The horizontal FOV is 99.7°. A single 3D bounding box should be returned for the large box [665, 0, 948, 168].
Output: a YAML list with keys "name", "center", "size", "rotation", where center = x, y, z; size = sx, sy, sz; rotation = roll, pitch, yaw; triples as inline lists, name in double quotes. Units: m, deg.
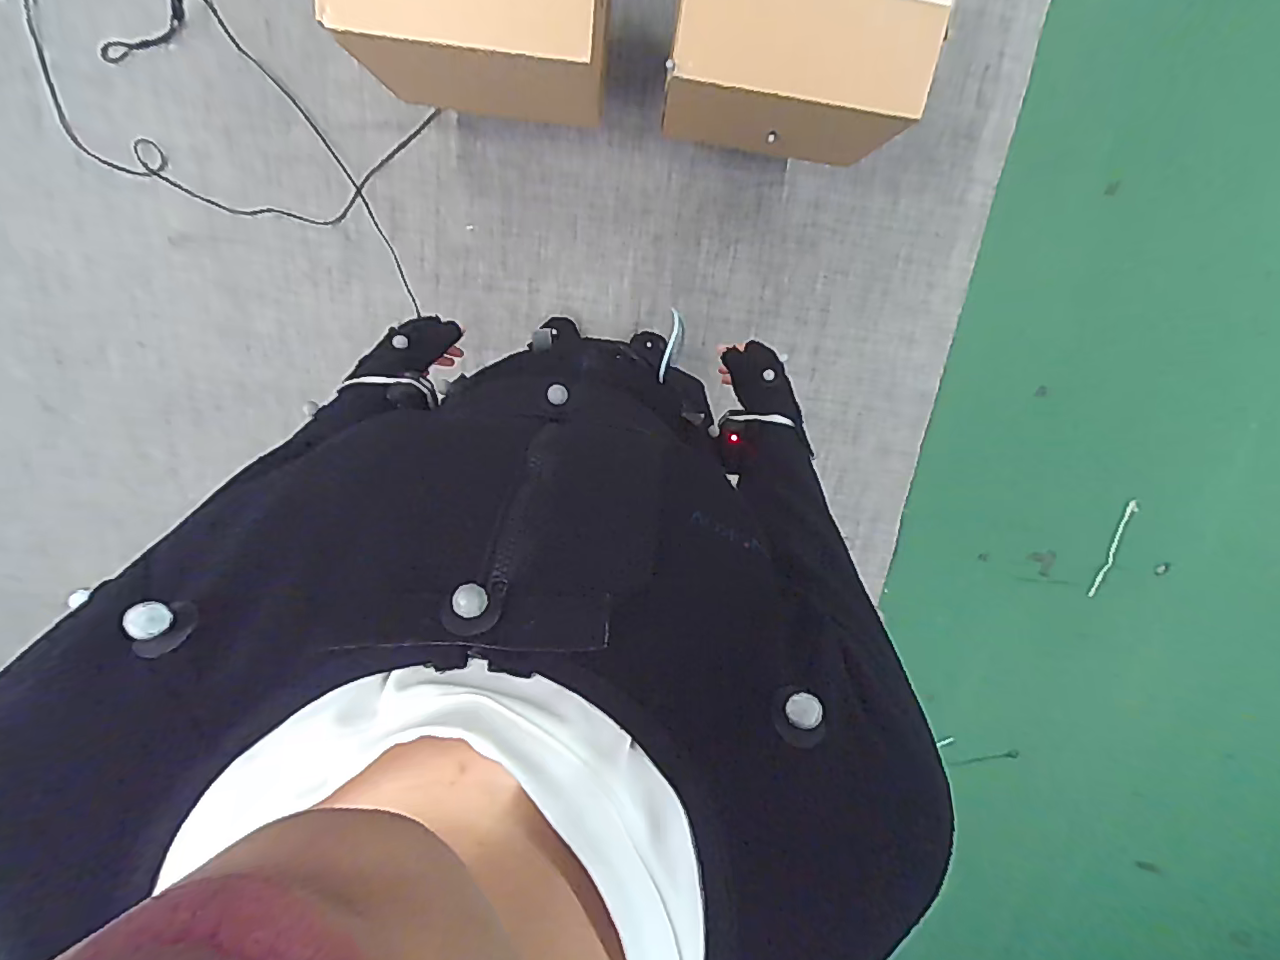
- name: "large box"
  center: [0.271, -0.786, 0.962]
  size: [0.408, 0.320, 0.320]
  rotation: [8, 107, -3]
